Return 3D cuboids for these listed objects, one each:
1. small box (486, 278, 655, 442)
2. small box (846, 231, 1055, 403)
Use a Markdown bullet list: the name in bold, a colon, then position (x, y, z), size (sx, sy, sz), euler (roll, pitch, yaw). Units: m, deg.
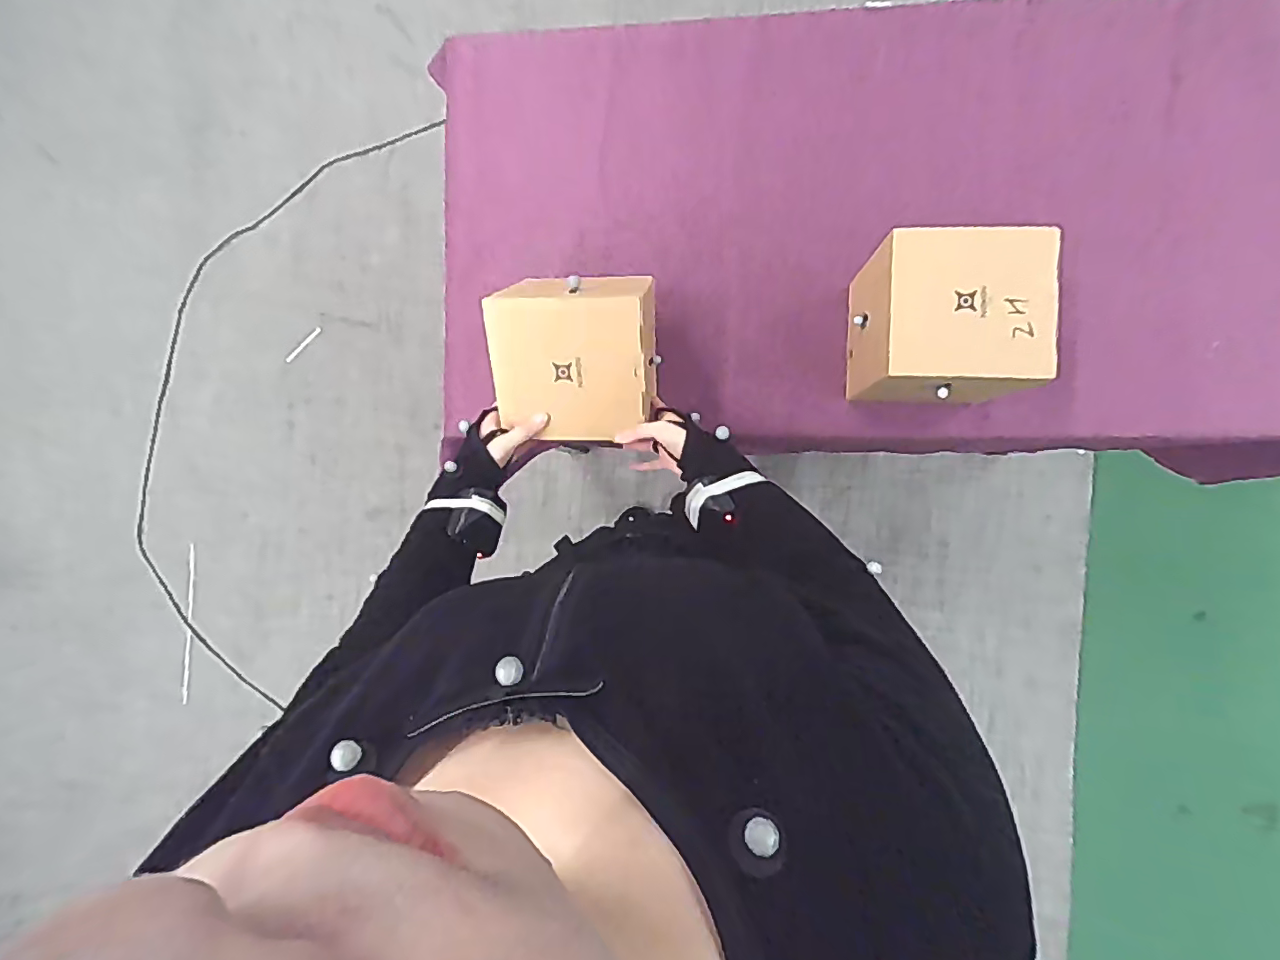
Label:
- **small box**: position (-0.074, -0.157, 0.683), size (0.179, 0.176, 0.168), euler (1, 118, 4)
- **small box**: position (0.368, -0.190, 0.673), size (0.179, 0.176, 0.168), euler (3, 90, 5)
